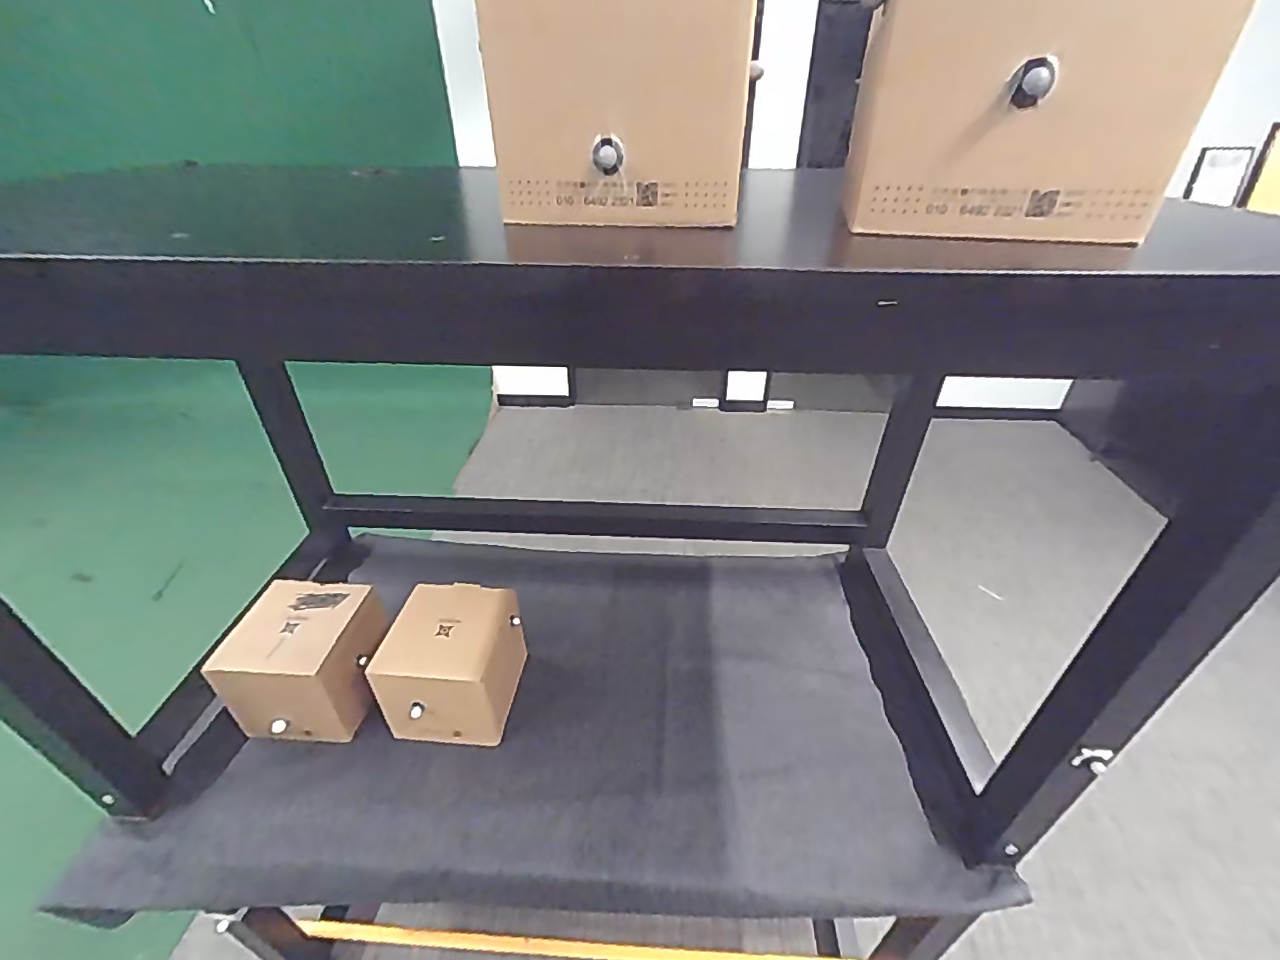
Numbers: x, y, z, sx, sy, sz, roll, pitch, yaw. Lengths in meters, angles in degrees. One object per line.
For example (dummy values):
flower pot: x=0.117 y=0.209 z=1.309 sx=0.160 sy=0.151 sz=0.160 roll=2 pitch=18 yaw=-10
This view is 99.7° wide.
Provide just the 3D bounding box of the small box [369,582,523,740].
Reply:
small box: x=-0.292 y=0.287 z=0.862 sx=0.168 sy=0.176 sz=0.179 roll=3 pitch=33 yaw=3

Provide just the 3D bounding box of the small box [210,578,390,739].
small box: x=-0.519 y=0.281 z=0.864 sx=0.168 sy=0.176 sz=0.179 roll=2 pitch=34 yaw=2

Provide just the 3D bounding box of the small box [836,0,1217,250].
small box: x=0.237 y=-0.264 z=0.372 sx=0.168 sy=0.176 sz=0.179 roll=9 pitch=34 yaw=12
